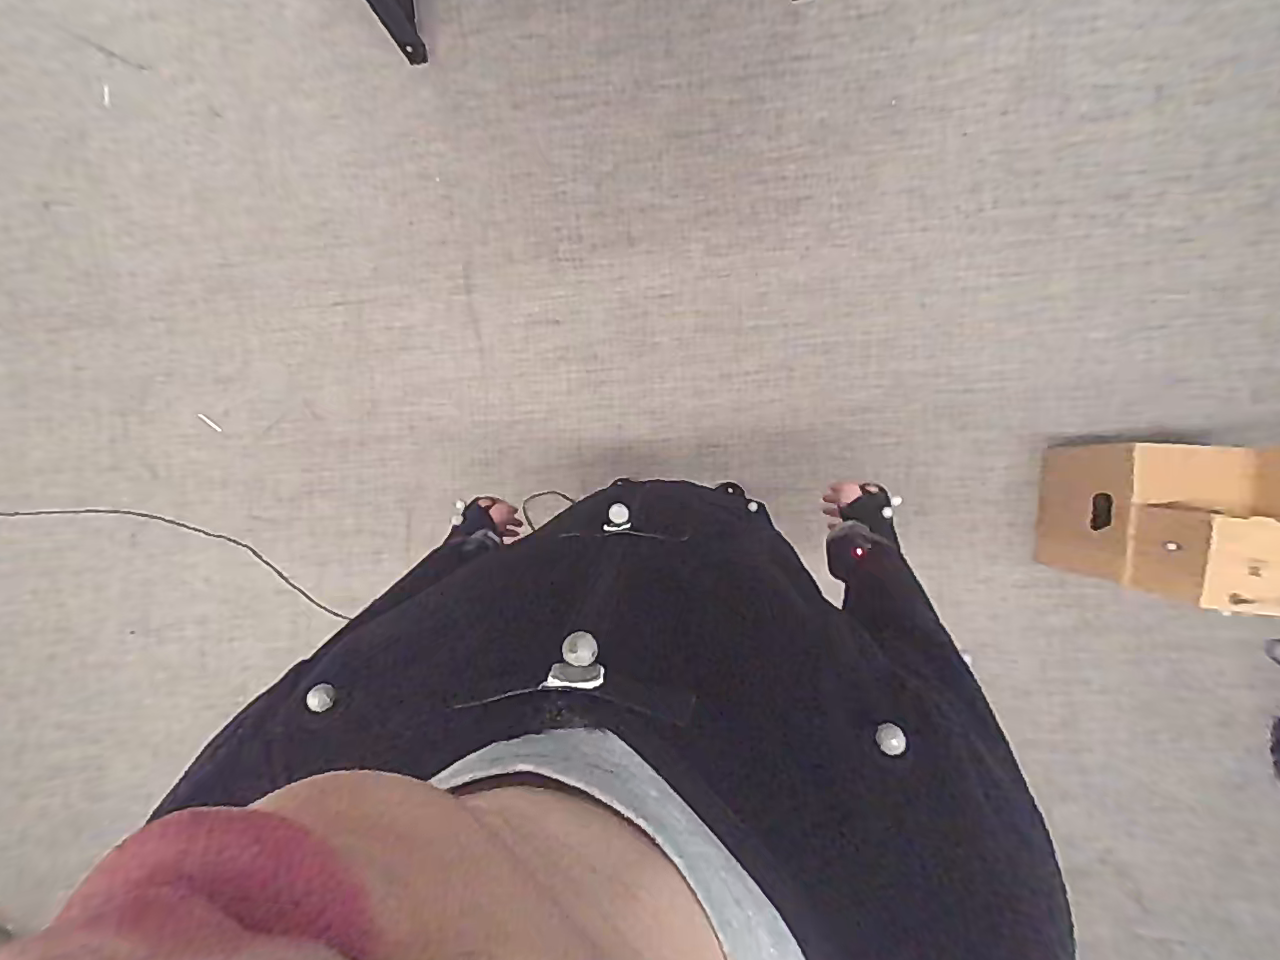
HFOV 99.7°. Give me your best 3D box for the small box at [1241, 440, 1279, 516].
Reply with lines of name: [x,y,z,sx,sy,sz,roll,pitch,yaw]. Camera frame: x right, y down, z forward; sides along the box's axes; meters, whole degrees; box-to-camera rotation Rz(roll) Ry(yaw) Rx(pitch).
small box: [1.340,0.013,1.051,0.168,0.176,0.179,5,88,5]

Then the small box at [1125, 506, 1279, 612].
small box: [1.115,0.147,1.069,0.168,0.176,0.179,5,92,4]
